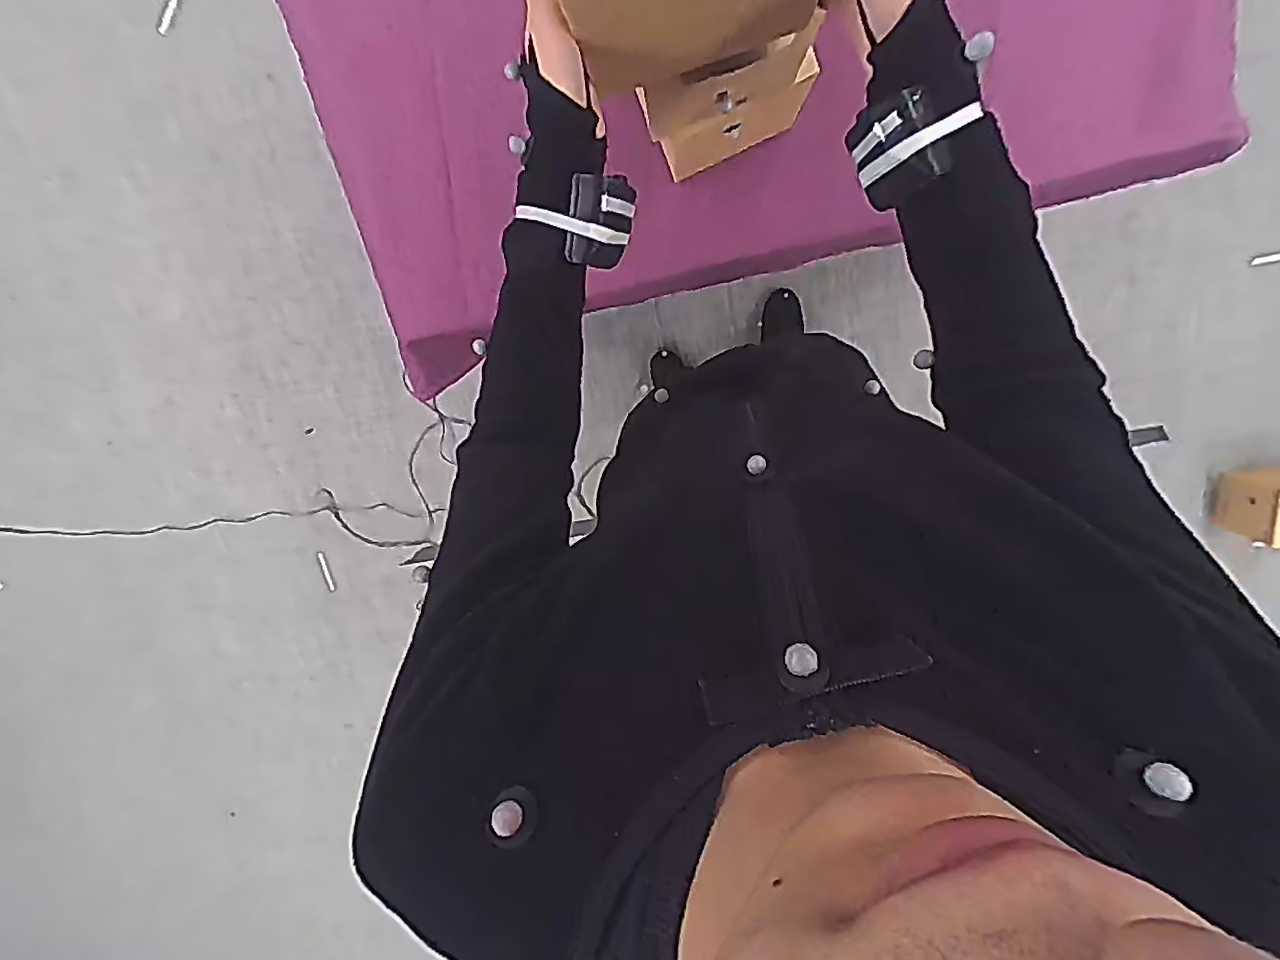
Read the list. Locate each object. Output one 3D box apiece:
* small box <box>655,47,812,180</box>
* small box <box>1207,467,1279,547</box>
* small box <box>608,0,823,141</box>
[{"bbox_3d":[0.089,-0.509,0.676,0.179,0.176,0.168,-22,102,9],"label":"small box"},{"bbox_3d":[1.719,0.069,1.473,0.179,0.176,0.168,-7,104,6],"label":"small box"},{"bbox_3d":[0.056,-0.470,0.518,0.168,0.176,0.179,-16,103,9],"label":"small box"}]
